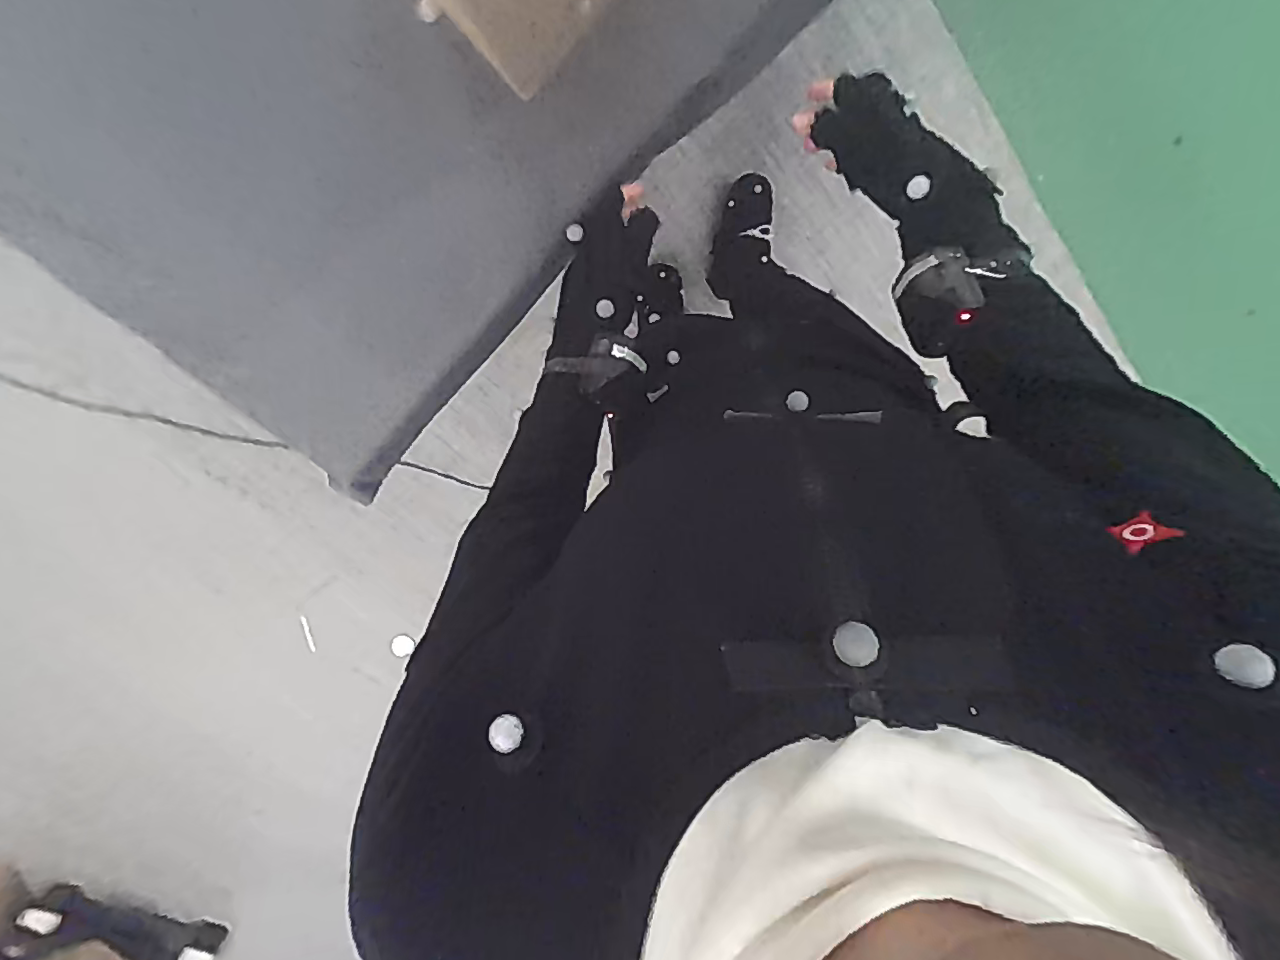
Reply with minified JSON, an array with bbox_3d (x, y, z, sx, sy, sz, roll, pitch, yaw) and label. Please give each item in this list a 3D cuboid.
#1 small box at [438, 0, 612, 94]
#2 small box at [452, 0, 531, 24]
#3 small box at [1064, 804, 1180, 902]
[{"bbox_3d":[-0.100,-0.443,0.406,0.179,0.176,0.168,-42,109,16],"label":"small box"},{"bbox_3d":[-0.098,-0.372,0.258,0.179,0.176,0.168,41,107,-18],"label":"small box"},{"bbox_3d":[1.477,1.146,1.670,0.168,0.176,0.179,38,109,-16],"label":"small box"}]
